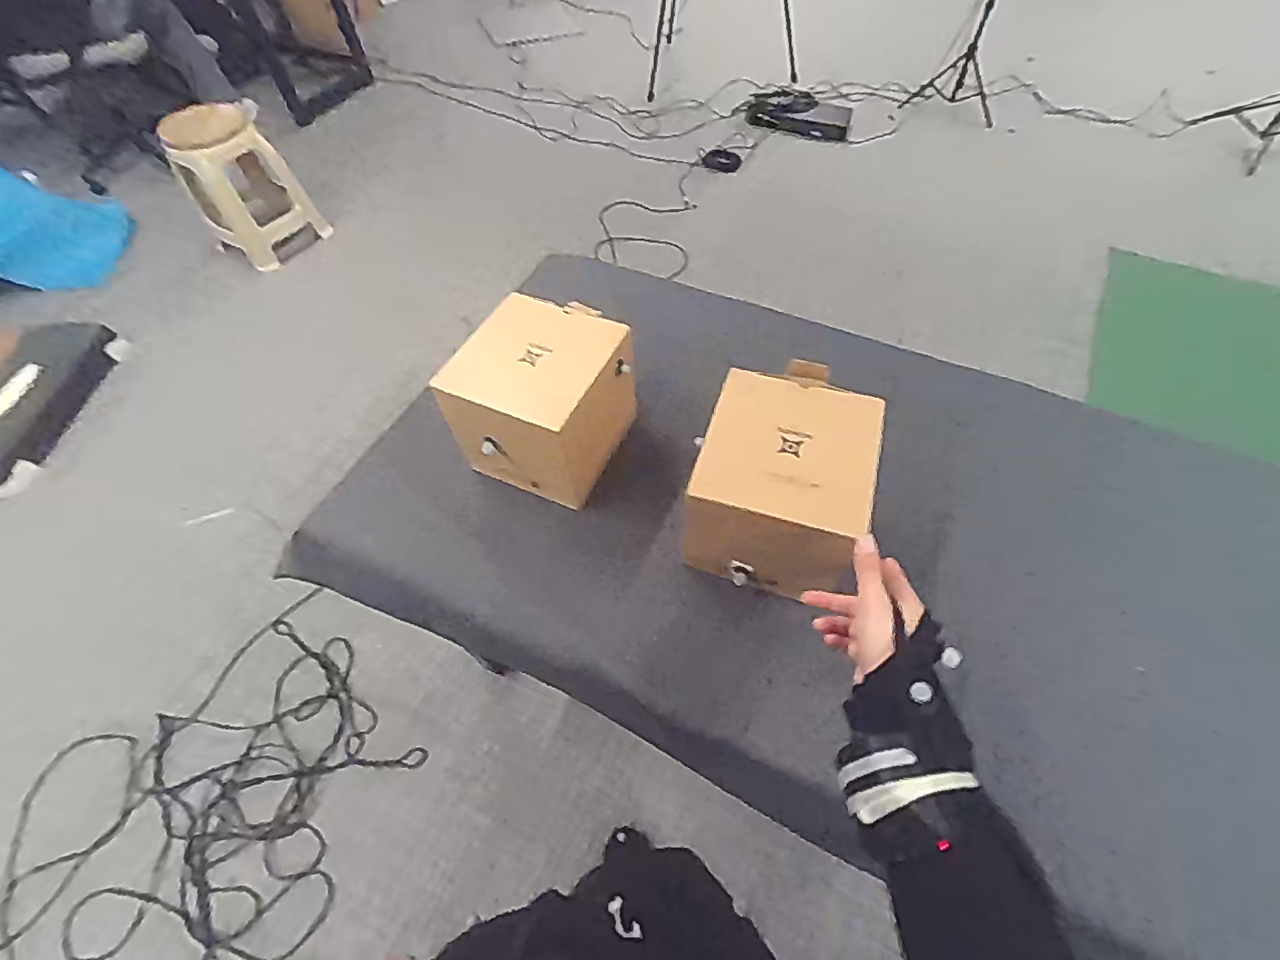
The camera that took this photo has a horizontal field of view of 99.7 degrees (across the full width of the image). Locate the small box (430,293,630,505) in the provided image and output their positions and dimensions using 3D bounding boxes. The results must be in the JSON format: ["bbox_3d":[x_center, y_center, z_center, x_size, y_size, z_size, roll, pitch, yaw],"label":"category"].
[{"bbox_3d":[-0.118,-0.096,0.673,0.168,0.176,0.179,20,58,14],"label":"small box"}]

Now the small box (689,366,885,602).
[{"bbox_3d":[0.152,0.008,0.595,0.168,0.176,0.179,14,58,12],"label":"small box"}]
